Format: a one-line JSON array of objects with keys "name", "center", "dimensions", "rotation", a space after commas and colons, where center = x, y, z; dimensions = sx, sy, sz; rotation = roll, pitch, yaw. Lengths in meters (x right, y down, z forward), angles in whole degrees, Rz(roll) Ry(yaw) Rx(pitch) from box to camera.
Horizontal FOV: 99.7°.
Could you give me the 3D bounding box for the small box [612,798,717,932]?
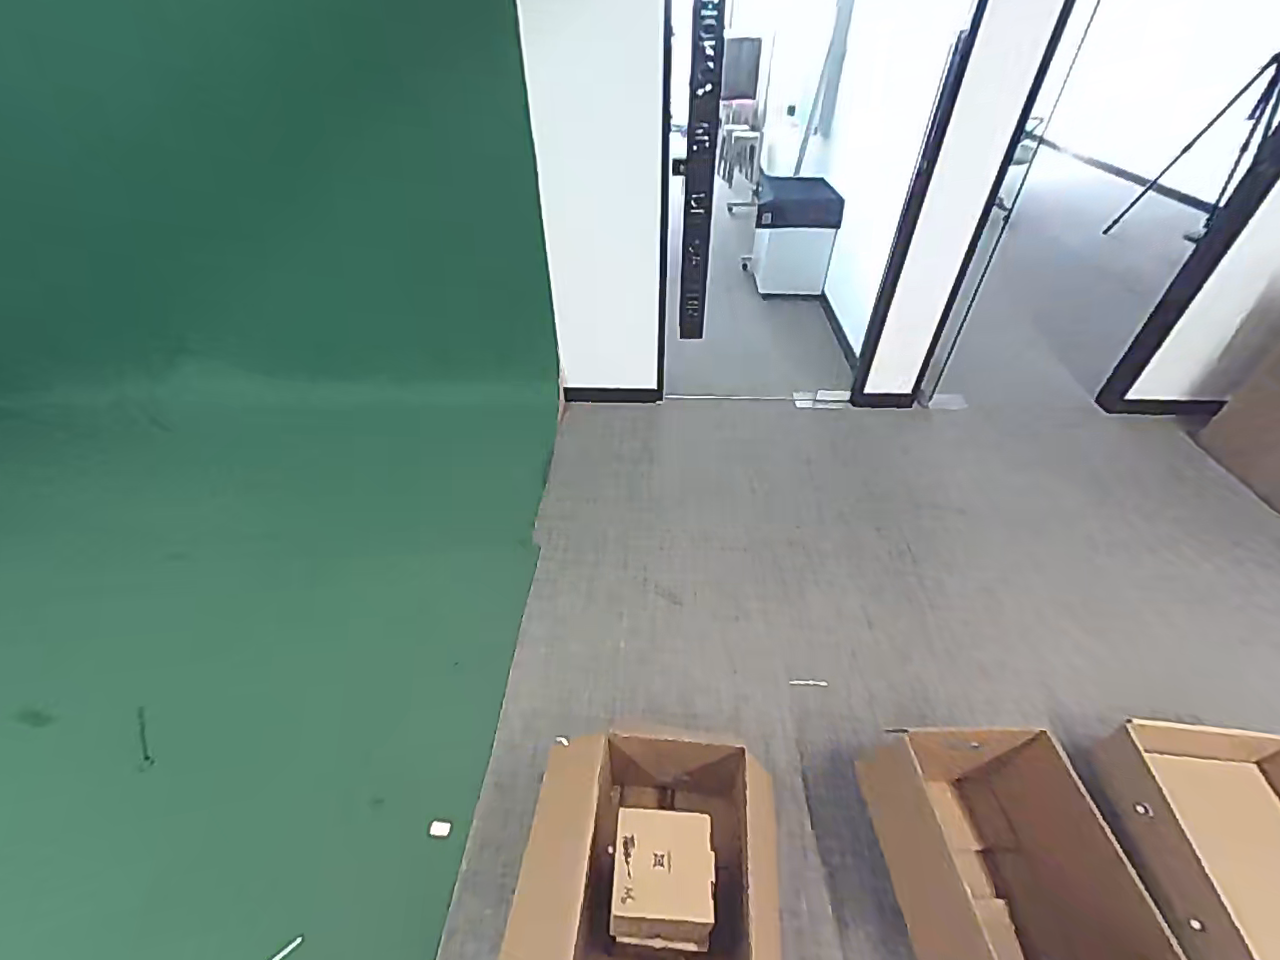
[{"name": "small box", "center": [0.044, 0.727, 1.019], "dimensions": [0.179, 0.176, 0.168], "rotation": [5, 41, 1]}]
